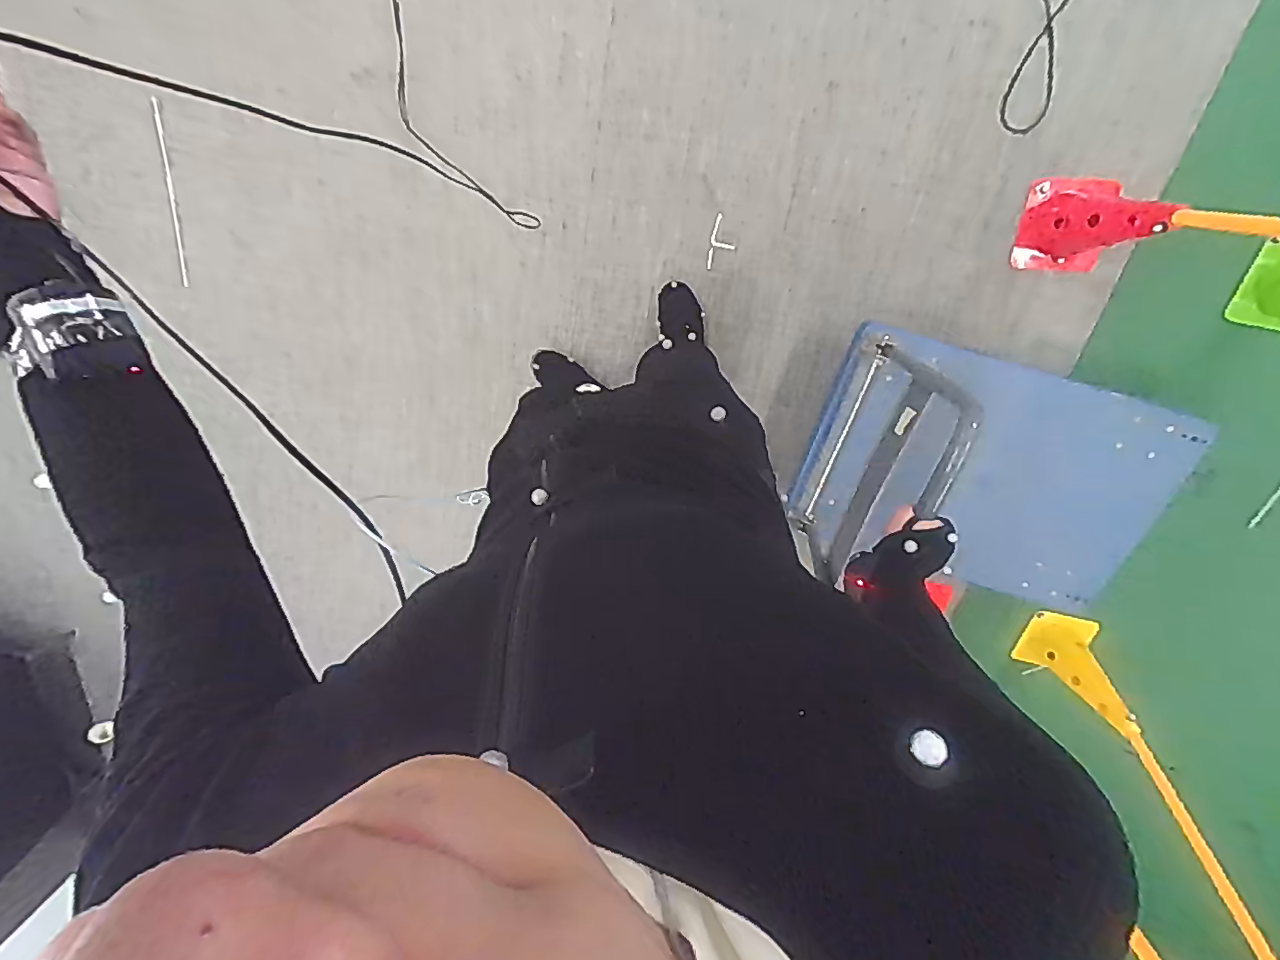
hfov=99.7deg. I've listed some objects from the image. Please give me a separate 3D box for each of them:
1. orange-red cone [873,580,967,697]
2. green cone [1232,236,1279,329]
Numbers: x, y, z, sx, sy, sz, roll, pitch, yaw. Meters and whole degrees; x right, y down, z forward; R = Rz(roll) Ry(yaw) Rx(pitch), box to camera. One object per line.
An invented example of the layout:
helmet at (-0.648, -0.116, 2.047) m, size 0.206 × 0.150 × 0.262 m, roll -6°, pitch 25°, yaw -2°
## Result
orange-red cone at (0.849, 0.480, 1.562) m, size 0.199 × 0.360 × 0.198 m, roll 11°, pitch 114°, yaw 1°
green cone at (1.517, -0.395, 1.110) m, size 0.202 × 0.368 × 0.200 m, roll 12°, pitch 113°, yaw 1°
